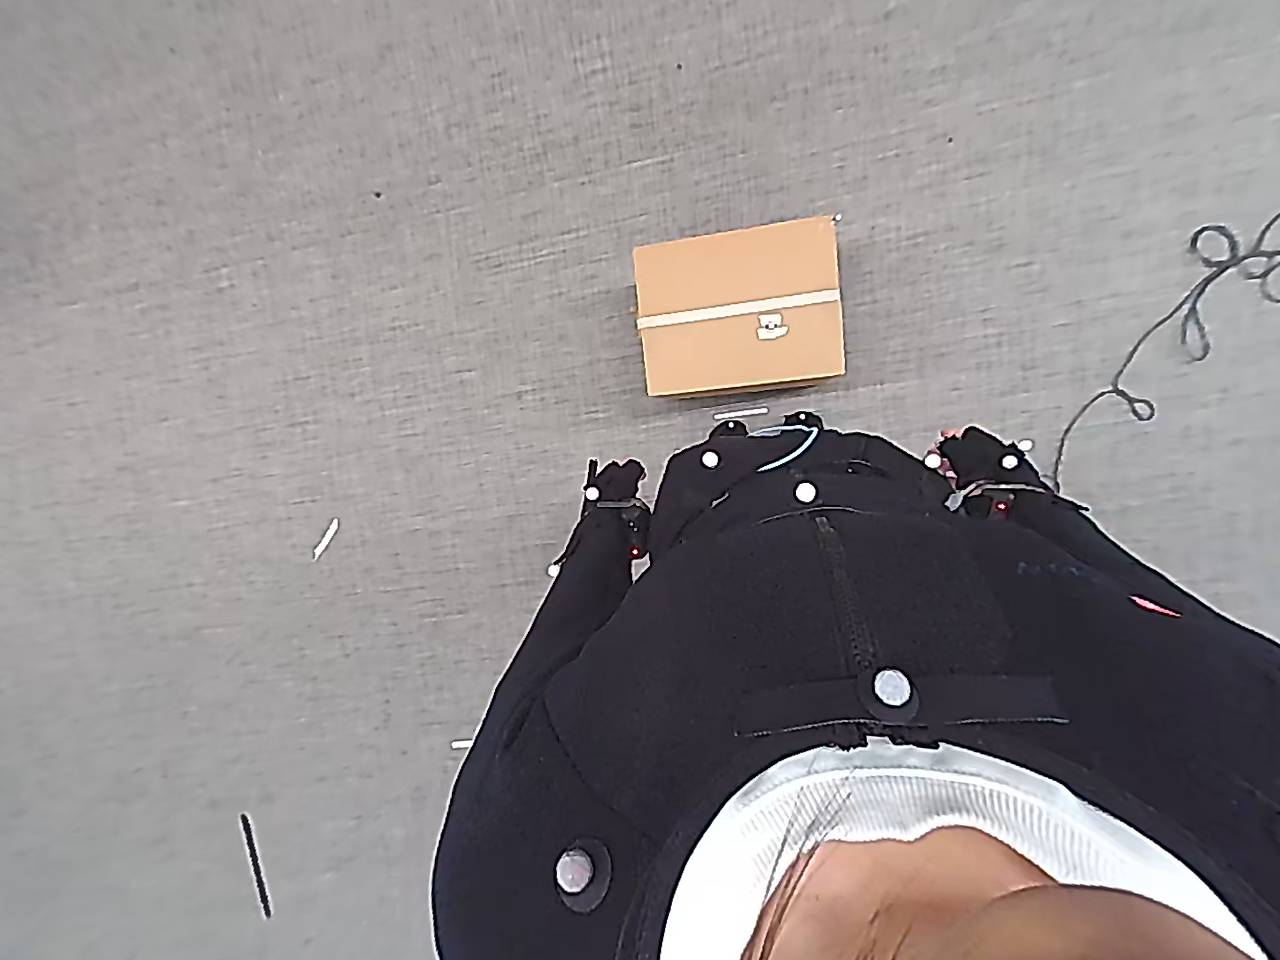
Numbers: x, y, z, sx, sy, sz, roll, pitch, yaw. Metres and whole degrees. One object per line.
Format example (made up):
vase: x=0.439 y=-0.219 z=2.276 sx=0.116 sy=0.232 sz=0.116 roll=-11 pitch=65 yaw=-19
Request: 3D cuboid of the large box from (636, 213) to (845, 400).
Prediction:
large box: x=0.225 y=-0.369 z=1.253 sx=0.408 sy=0.320 sz=0.320 roll=-5 pitch=96 yaw=10
